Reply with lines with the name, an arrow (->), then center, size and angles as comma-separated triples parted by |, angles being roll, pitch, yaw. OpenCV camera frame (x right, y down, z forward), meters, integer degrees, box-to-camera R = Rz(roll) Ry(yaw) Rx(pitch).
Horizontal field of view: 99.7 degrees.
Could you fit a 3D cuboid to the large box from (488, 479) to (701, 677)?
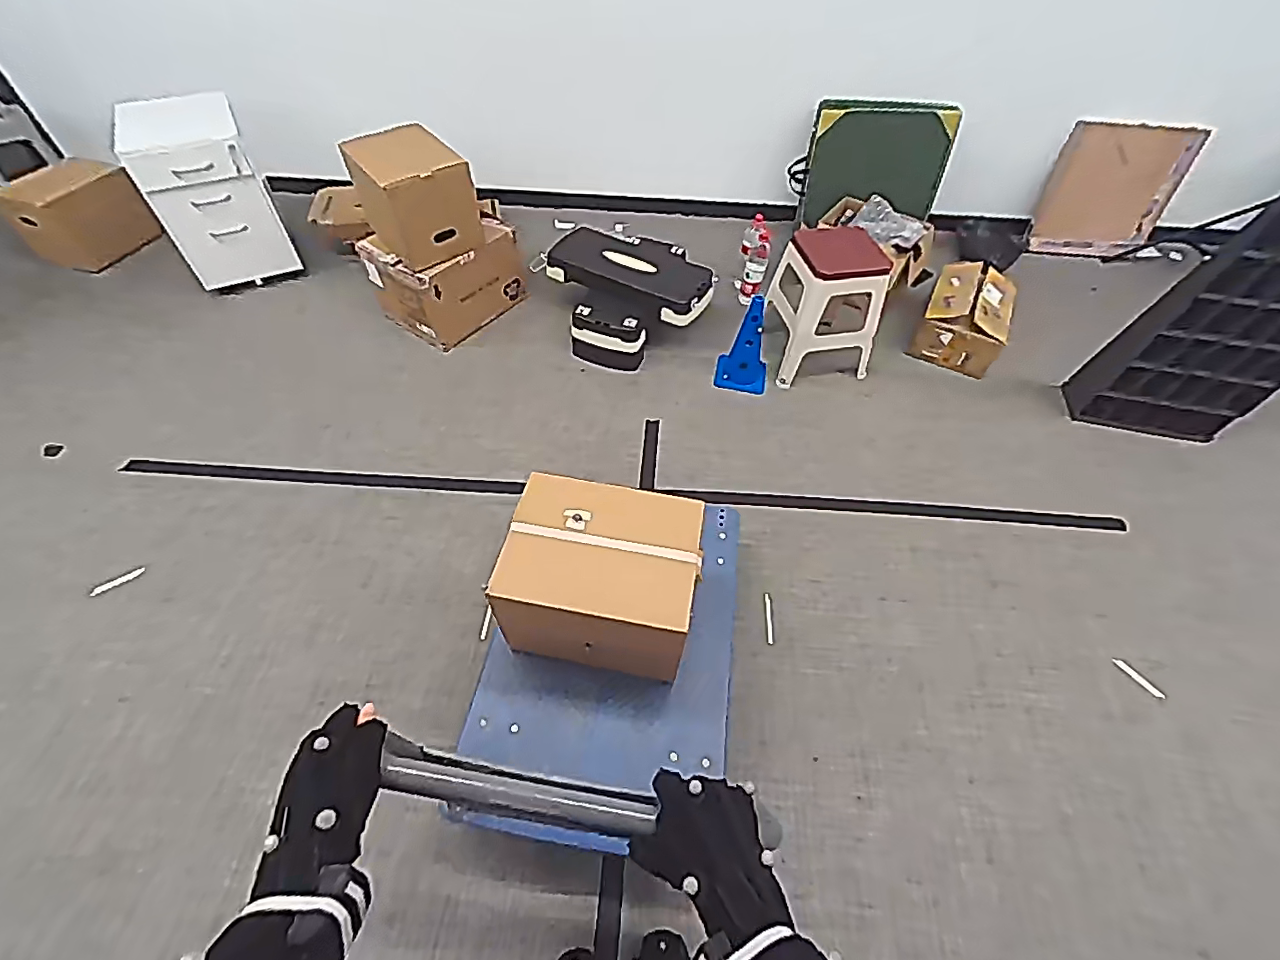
large box -> -0.082, 0.234, 1.258 | 0.408, 0.320, 0.320 | 9, 53, 6
